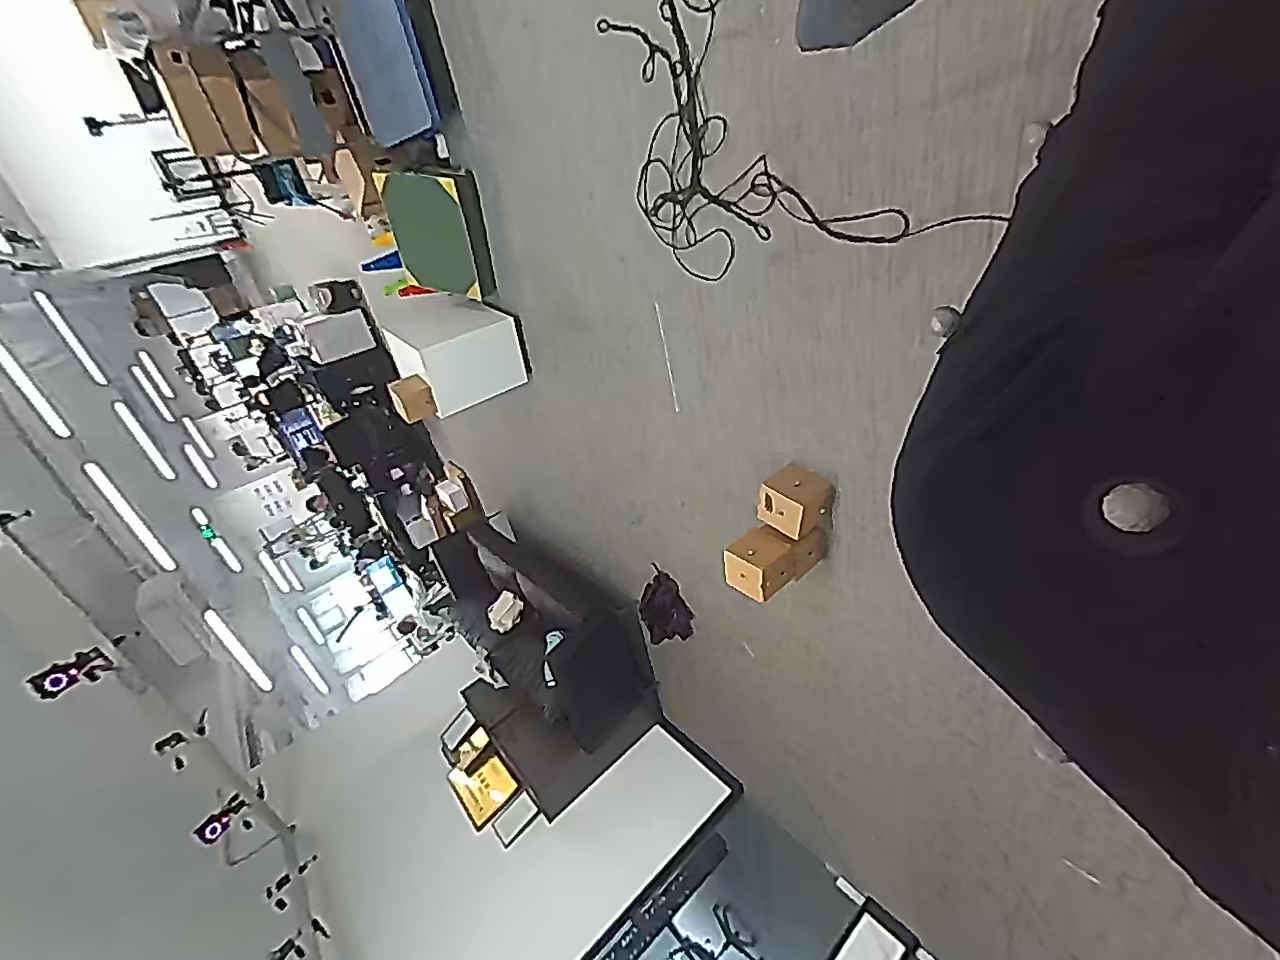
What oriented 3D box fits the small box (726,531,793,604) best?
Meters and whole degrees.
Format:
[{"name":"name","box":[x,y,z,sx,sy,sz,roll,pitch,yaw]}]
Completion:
[{"name":"small box","box":[0.433,0.307,1.956,0.179,0.176,0.168,26,137,44]}]

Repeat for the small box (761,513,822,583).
[{"name":"small box","box":[0.566,0.248,2.032,0.179,0.176,0.168,26,137,43]}]
